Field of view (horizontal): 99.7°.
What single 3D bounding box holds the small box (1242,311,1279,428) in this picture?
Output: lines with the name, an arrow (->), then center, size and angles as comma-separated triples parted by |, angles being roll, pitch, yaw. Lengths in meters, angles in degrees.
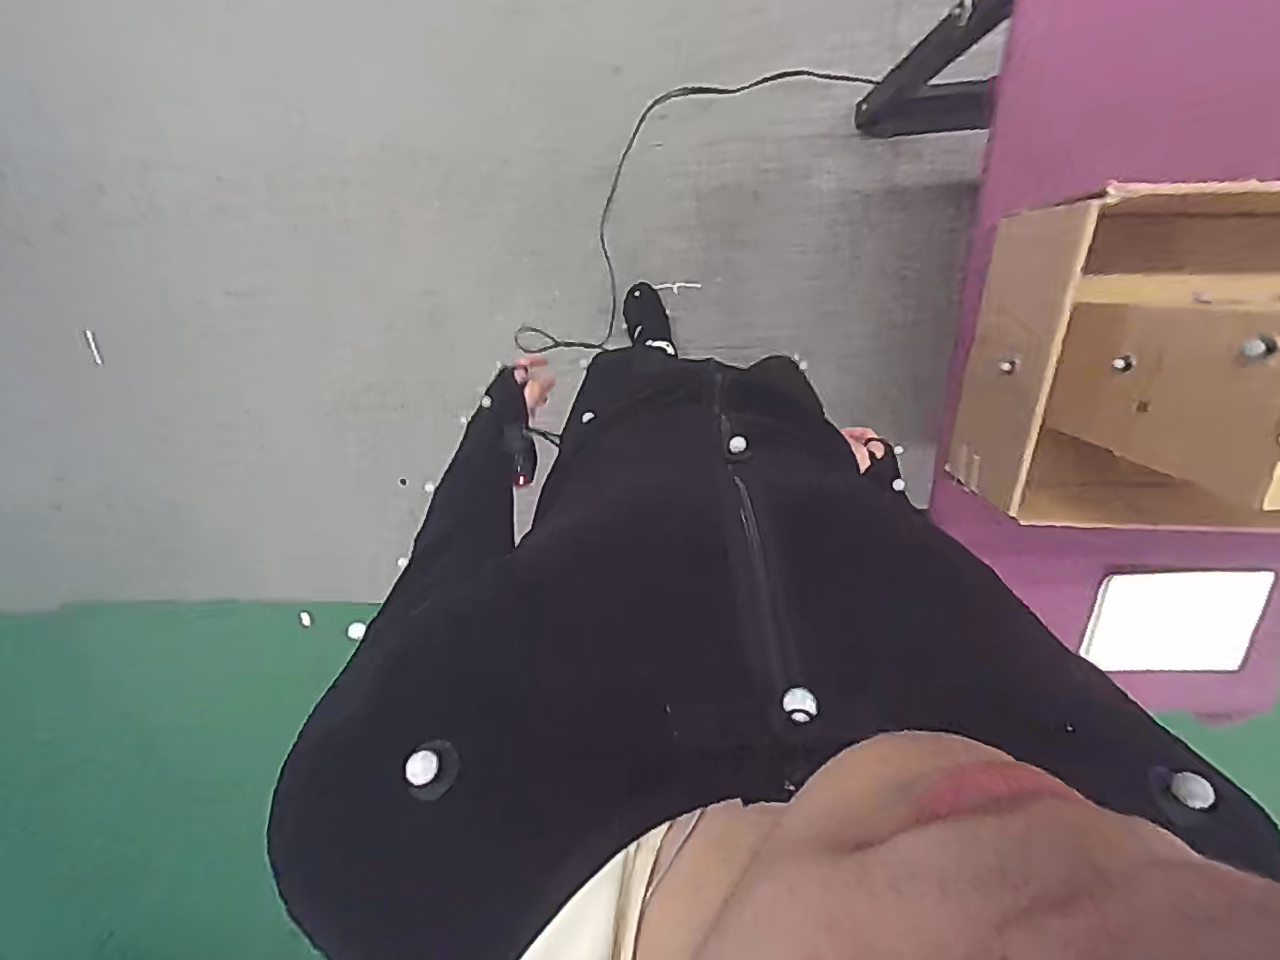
small box -> 0.926, -0.136, 0.657 | 0.179, 0.176, 0.168 | -1, 110, 6
